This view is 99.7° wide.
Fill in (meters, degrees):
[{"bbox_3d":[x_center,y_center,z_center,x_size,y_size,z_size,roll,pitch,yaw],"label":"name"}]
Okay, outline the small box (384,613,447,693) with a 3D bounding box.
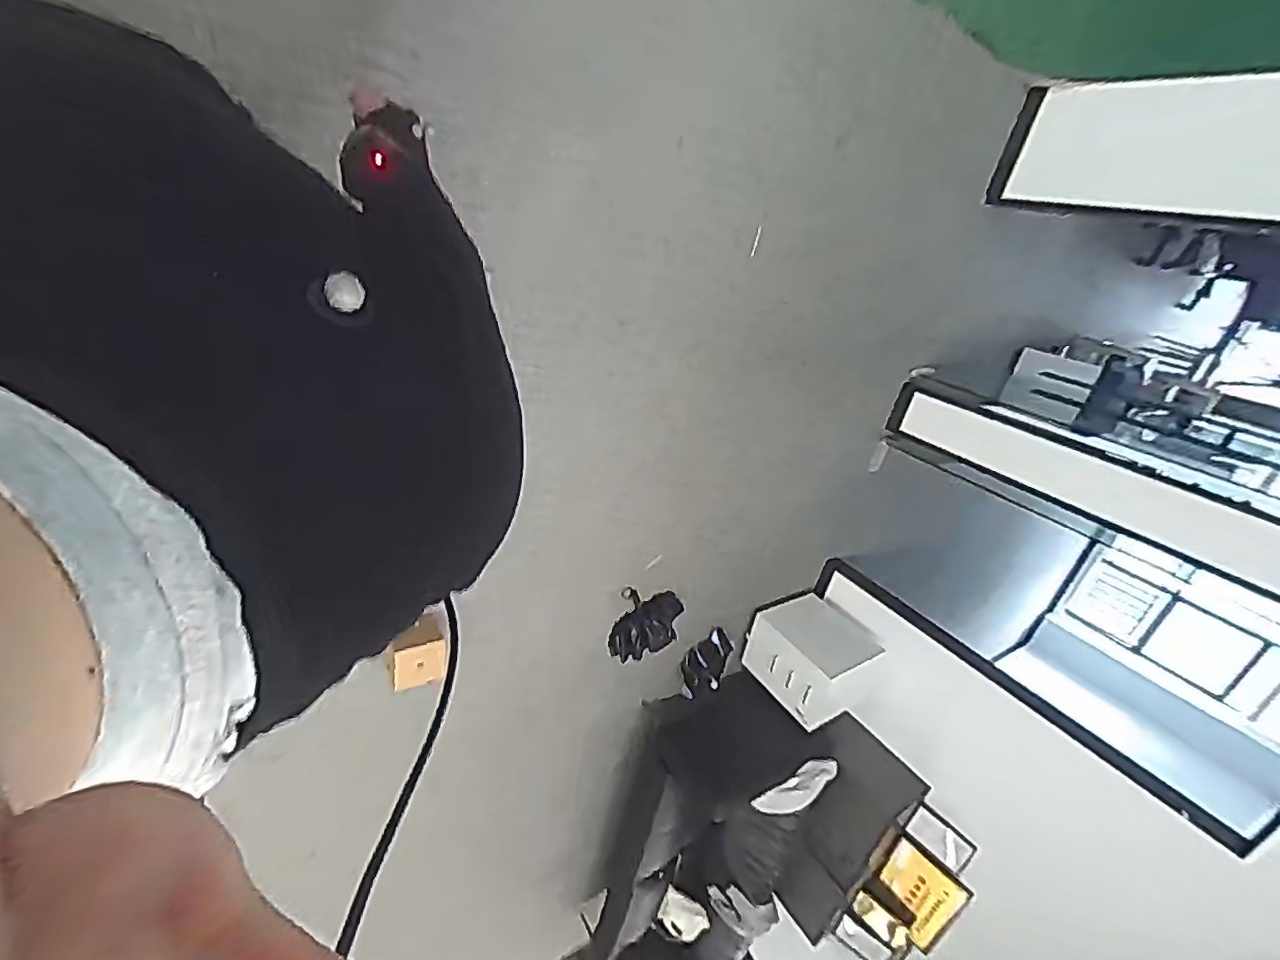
[{"bbox_3d":[-0.781,0.594,1.878,0.168,0.176,0.179,-9,121,-36],"label":"small box"}]
